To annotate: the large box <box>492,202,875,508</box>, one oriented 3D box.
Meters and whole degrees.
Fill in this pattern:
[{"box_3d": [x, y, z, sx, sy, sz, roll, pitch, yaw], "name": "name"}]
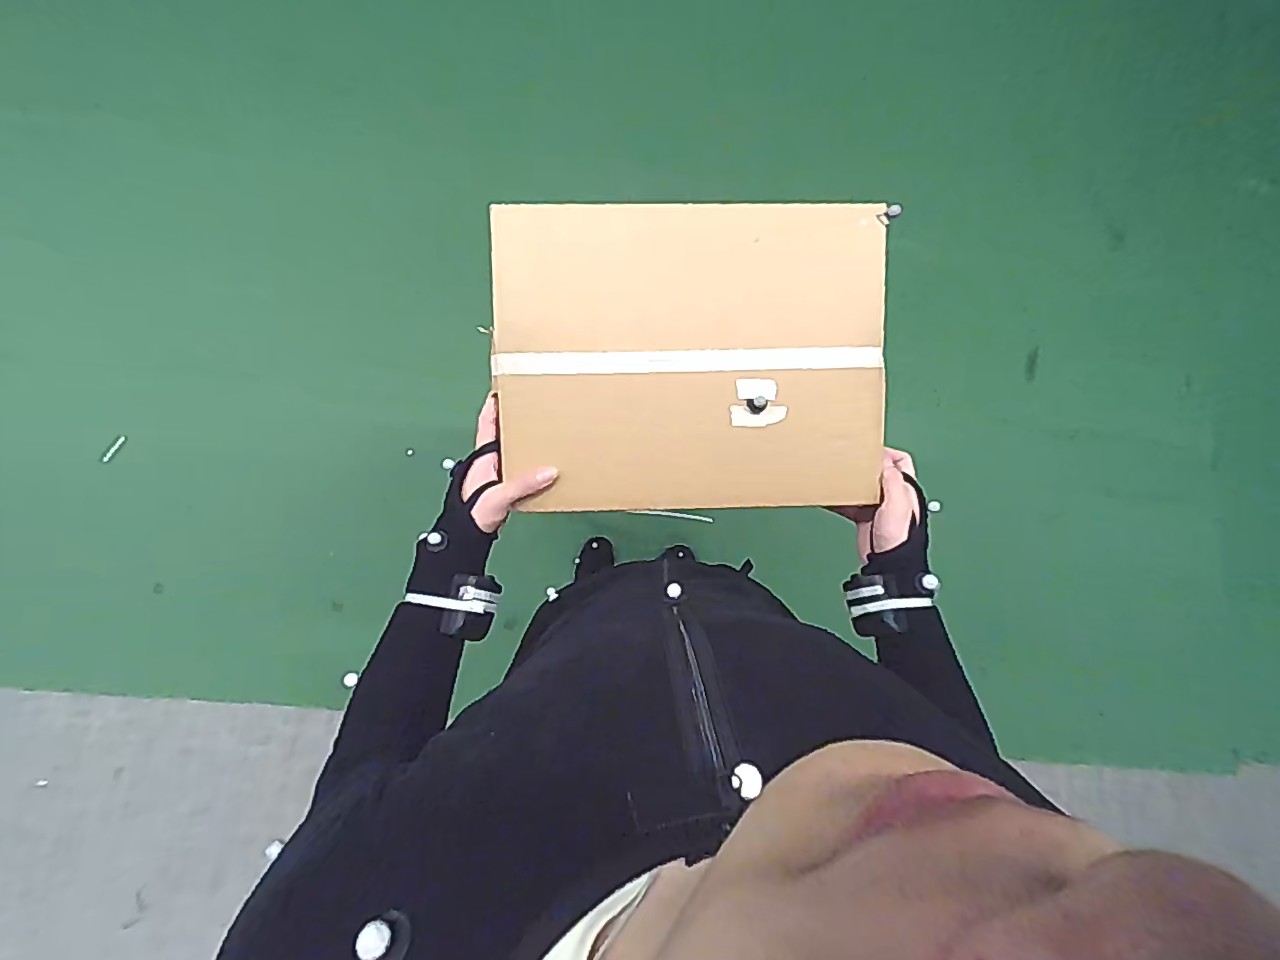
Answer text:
[{"box_3d": [0.043, -0.144, 0.718, 0.408, 0.320, 0.320, -2, 96, -3], "name": "large box"}]
